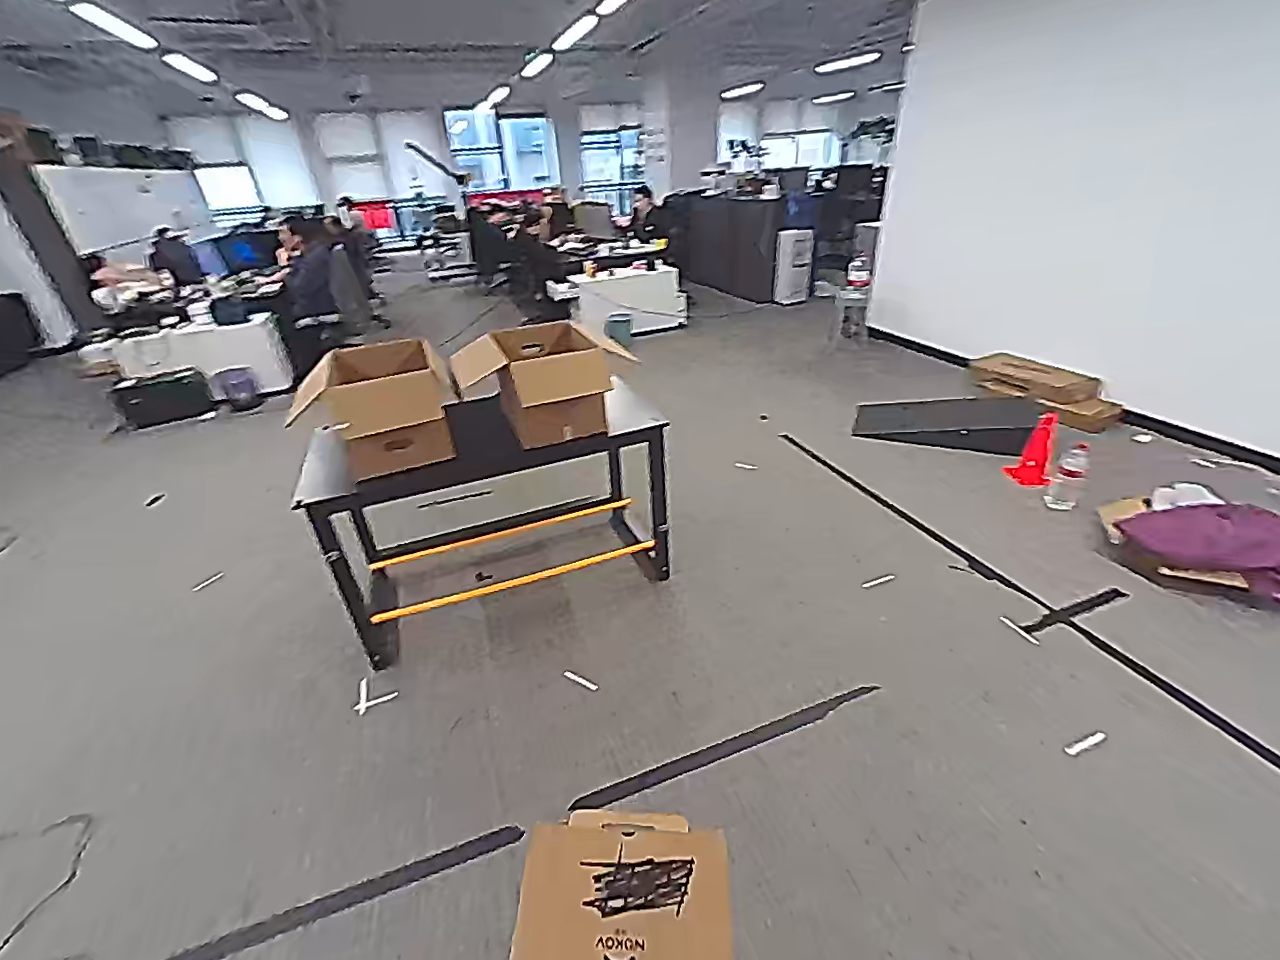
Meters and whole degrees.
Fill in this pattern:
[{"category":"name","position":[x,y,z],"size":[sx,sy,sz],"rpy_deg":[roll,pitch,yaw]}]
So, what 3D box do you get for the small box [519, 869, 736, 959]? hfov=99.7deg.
[{"category":"small box","position":[-0.011,0.440,0.430],"size":[0.168,0.176,0.179],"rpy_deg":[1,41,2]}]
